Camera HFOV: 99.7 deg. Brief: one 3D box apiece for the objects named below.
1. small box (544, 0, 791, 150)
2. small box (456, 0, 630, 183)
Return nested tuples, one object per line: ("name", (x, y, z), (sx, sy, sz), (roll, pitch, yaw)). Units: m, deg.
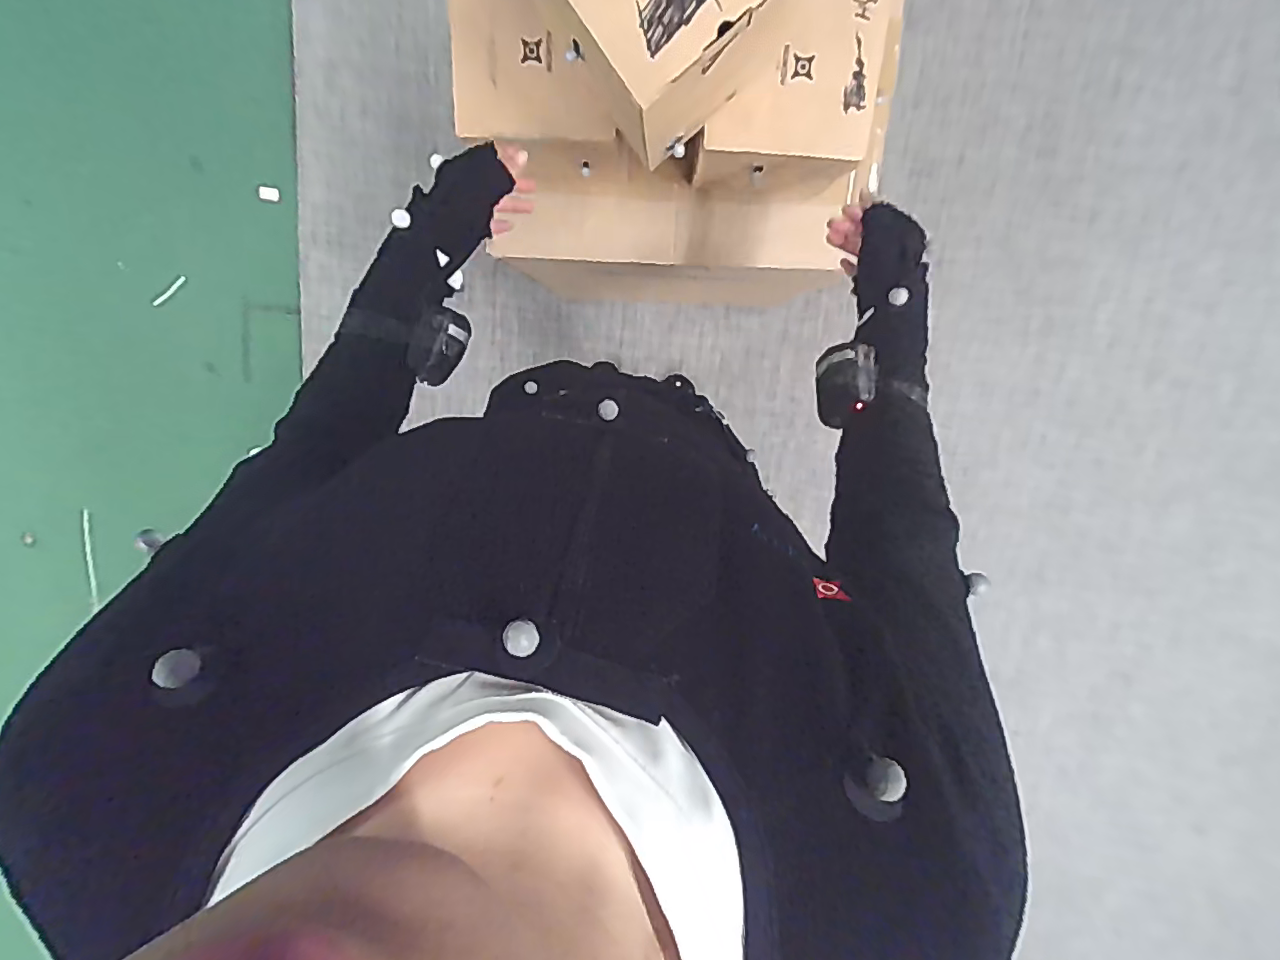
("small box", (0.021, -0.426, 0.471), (0.168, 0.176, 0.179), (-36, 100, 11))
("small box", (-0.099, -0.463, 0.635), (0.179, 0.176, 0.168), (2, 104, 2))
